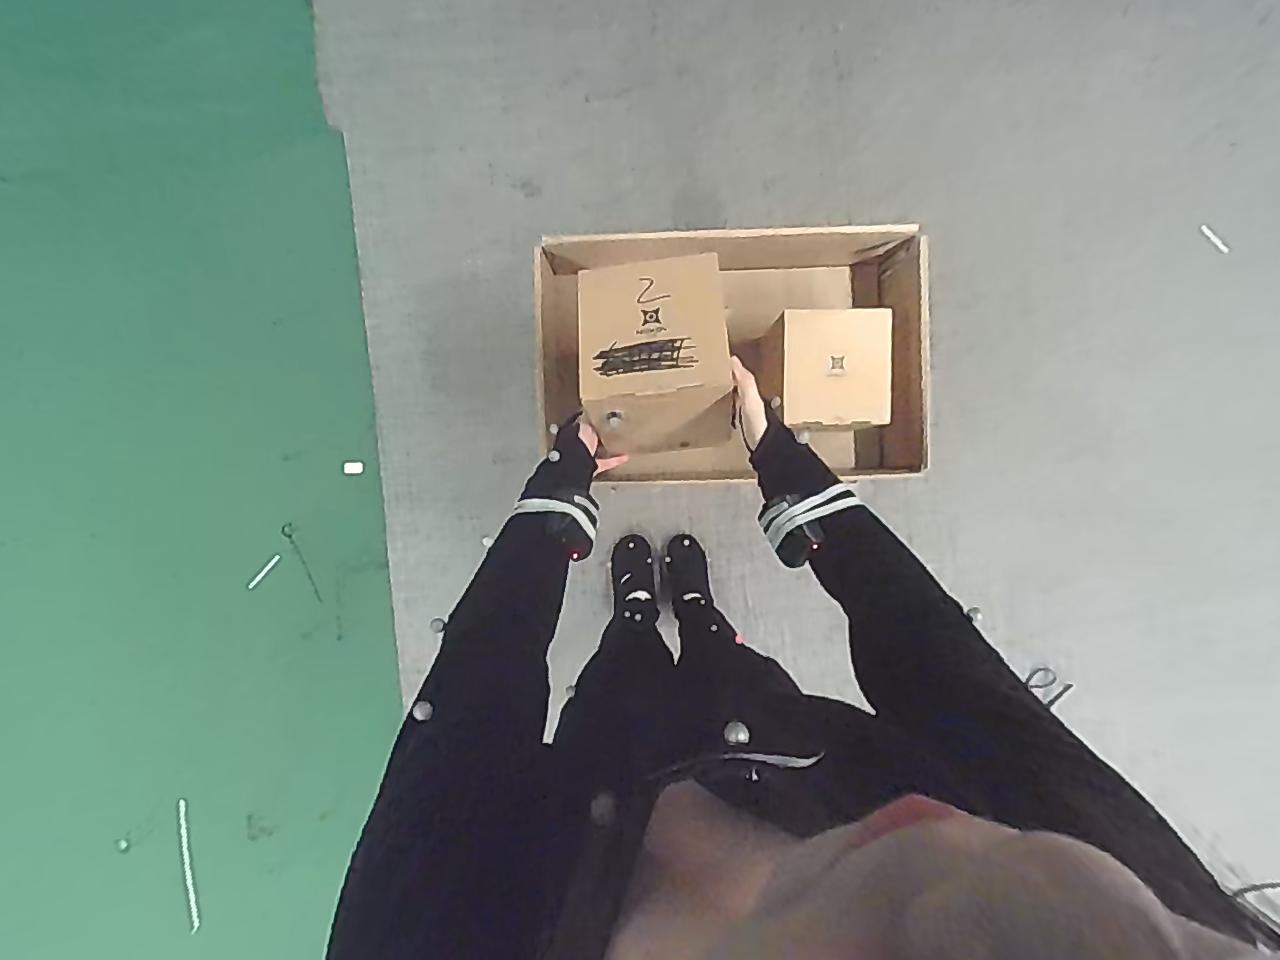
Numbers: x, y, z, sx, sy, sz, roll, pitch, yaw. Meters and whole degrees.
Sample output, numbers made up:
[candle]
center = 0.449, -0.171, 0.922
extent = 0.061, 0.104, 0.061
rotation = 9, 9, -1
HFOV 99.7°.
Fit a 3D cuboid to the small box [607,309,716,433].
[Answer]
[small box]
center = 0.032, -0.172, 0.898
extent = 0.168, 0.176, 0.179
rotation = -3, 93, 1
